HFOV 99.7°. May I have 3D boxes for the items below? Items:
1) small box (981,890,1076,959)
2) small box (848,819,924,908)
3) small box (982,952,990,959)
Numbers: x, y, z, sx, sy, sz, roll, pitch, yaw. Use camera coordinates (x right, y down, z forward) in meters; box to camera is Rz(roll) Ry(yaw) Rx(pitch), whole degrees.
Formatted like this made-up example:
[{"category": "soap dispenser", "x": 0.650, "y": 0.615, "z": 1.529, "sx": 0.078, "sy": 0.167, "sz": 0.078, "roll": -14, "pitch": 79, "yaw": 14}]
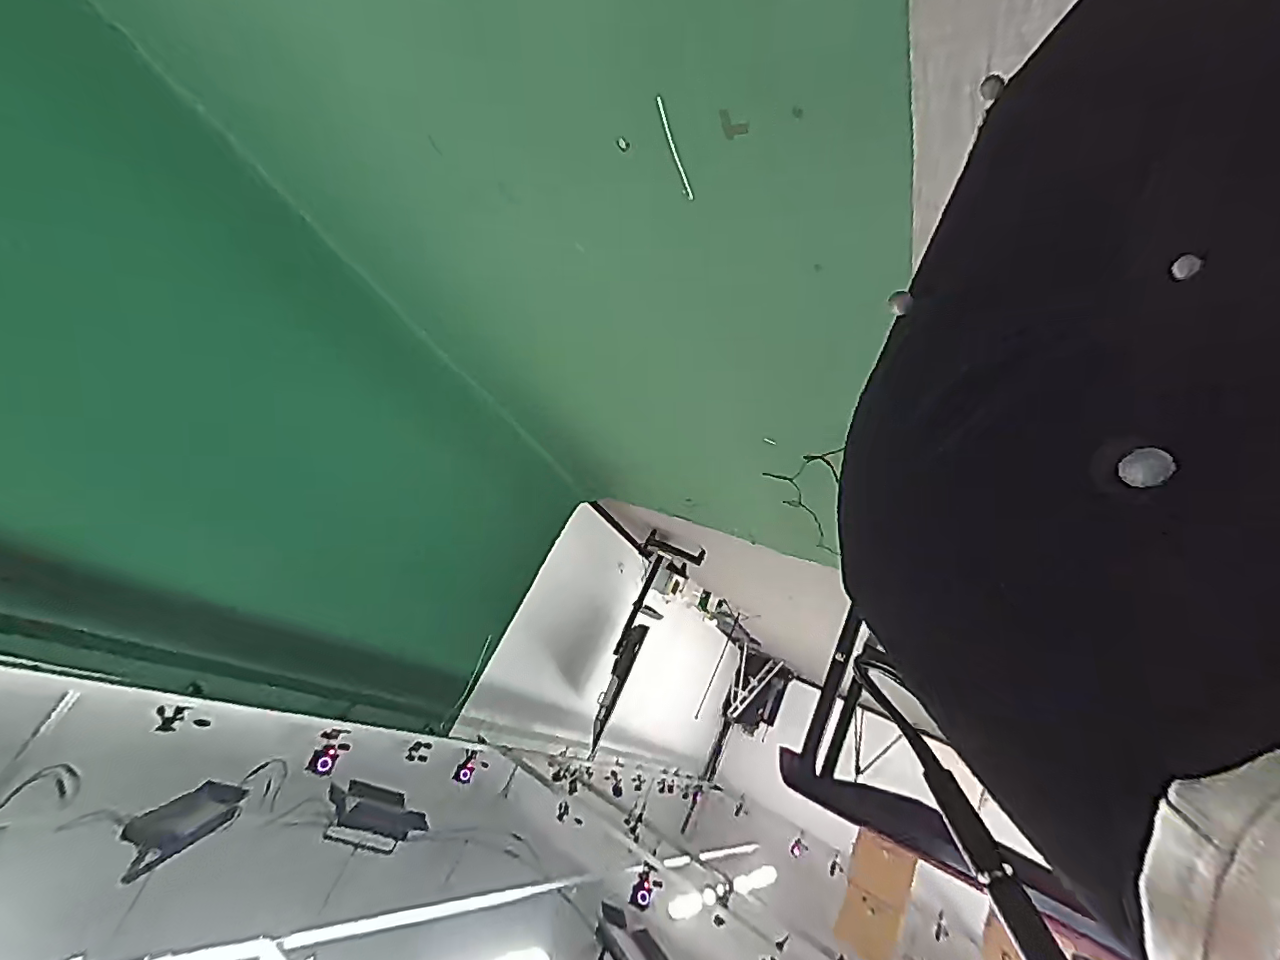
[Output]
[{"category": "small box", "x": 1.085, "y": 1.295, "z": 1.517, "sx": 0.179, "sy": 0.176, "sz": 0.168, "roll": 15, "pitch": 160, "yaw": 34}, {"category": "small box", "x": 0.788, "y": 1.213, "z": 1.727, "sx": 0.179, "sy": 0.176, "sz": 0.168, "roll": 15, "pitch": 161, "yaw": 35}, {"category": "small box", "x": 1.016, "y": 1.435, "z": 1.471, "sx": 0.168, "sy": 0.176, "sz": 0.179, "roll": 17, "pitch": 161, "yaw": 34}]
